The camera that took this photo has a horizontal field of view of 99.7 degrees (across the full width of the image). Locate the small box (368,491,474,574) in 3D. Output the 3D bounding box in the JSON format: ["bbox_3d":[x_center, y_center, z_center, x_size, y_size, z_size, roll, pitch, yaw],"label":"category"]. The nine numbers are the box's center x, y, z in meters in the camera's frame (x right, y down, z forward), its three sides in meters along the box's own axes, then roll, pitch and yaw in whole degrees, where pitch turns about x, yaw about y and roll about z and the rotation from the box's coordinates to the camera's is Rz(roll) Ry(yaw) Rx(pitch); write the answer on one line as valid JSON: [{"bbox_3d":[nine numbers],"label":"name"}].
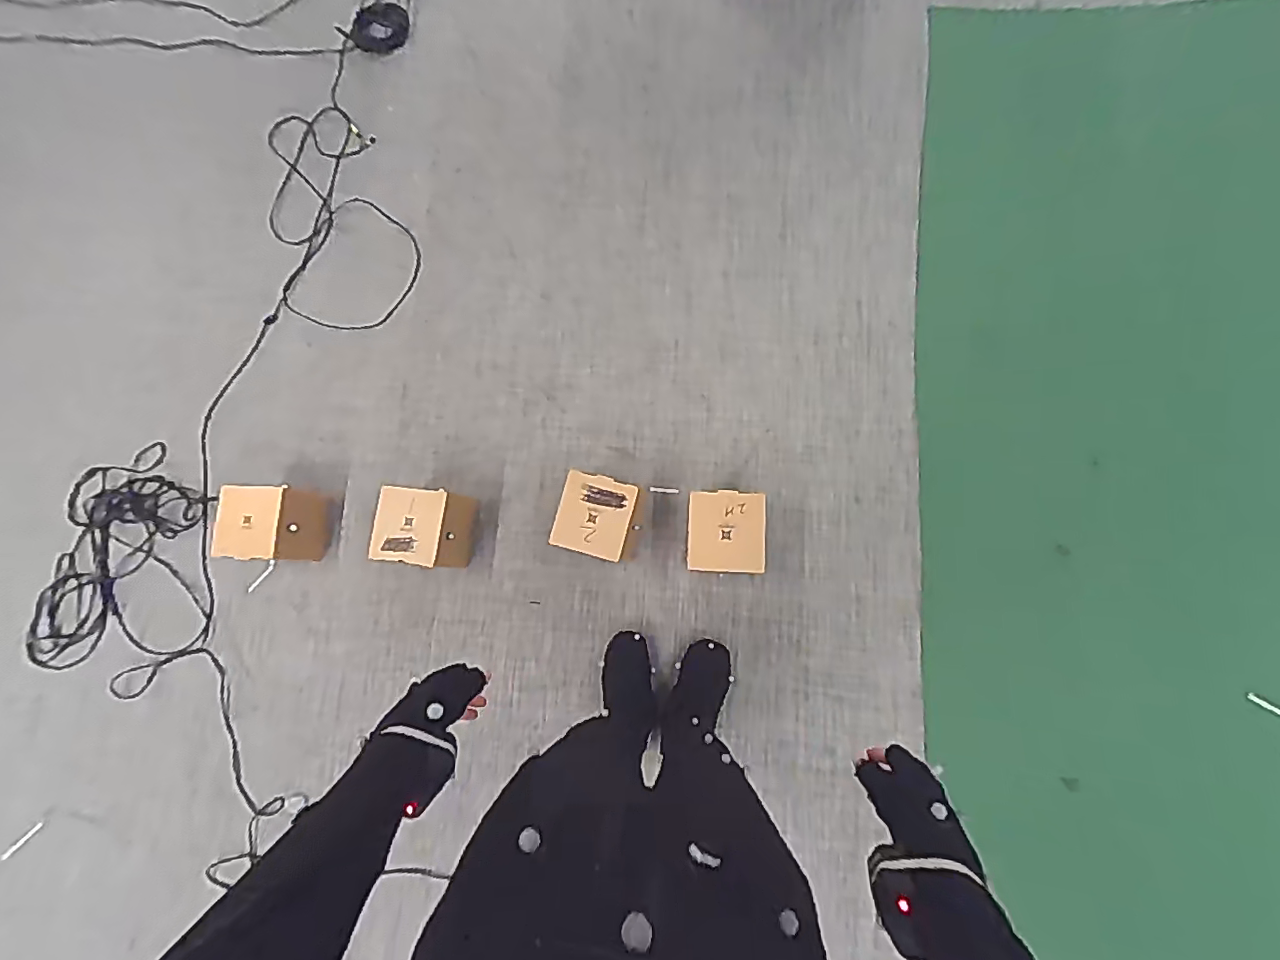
[{"bbox_3d":[-0.525,0.131,1.321,0.168,0.176,0.179,6,81,8],"label":"small box"}]

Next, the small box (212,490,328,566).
[{"bbox_3d":[-0.925,0.126,1.369,0.168,0.176,0.179,1,81,7],"label":"small box"}]

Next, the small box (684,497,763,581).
[{"bbox_3d":[0.190,0.138,1.243,0.168,0.176,0.179,2,81,6],"label":"small box"}]
